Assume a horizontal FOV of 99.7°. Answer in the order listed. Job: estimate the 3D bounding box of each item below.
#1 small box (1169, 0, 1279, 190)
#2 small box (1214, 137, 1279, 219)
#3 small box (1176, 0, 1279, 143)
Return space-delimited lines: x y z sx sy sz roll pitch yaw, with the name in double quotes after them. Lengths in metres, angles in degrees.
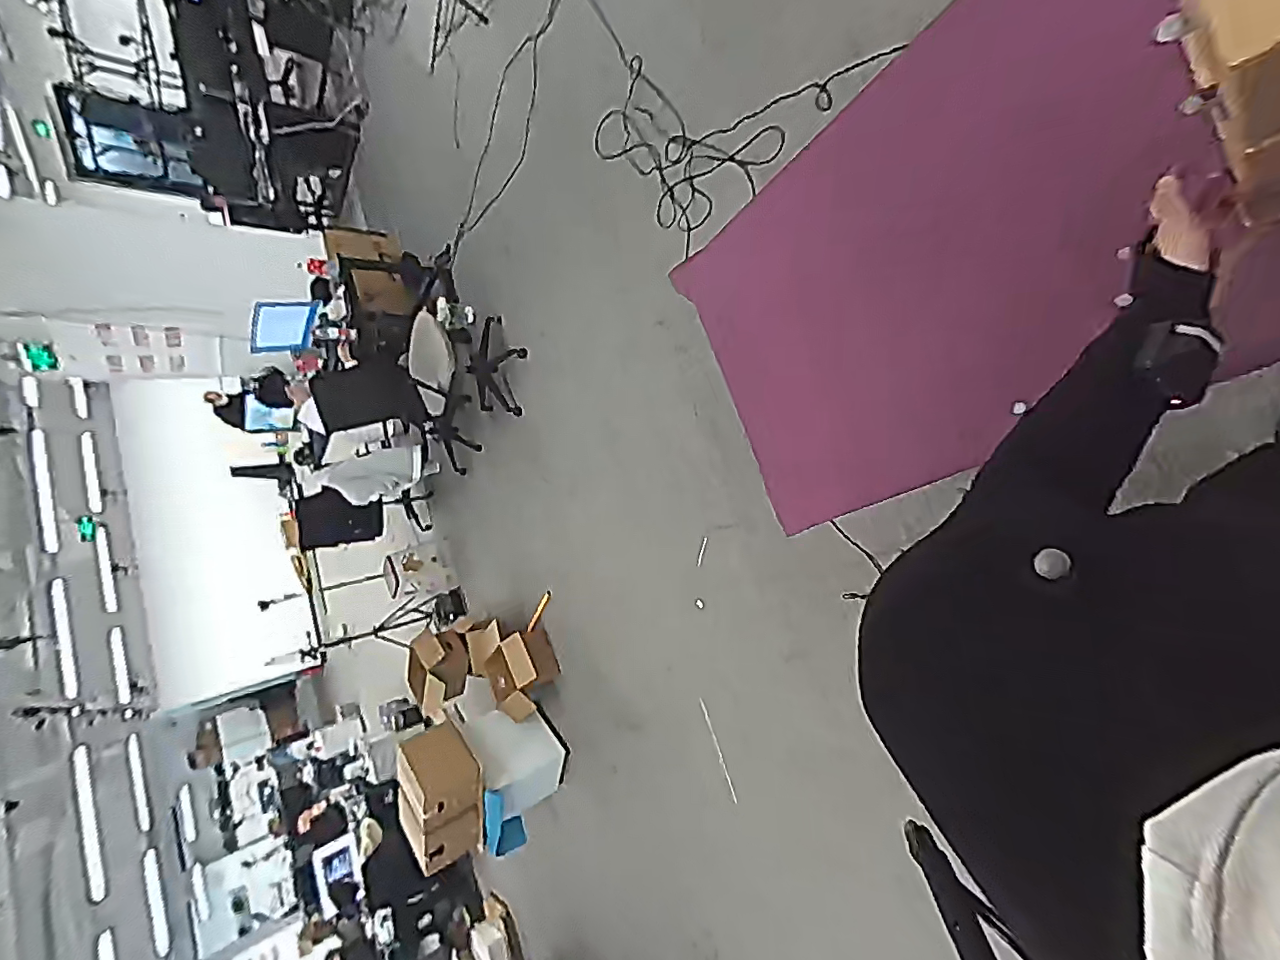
0.522 -0.339 0.381 0.179 0.176 0.168 -19 84 51 "small box"
0.646 -0.362 0.486 0.179 0.176 0.168 -14 87 50 "small box"
0.398 -0.318 0.275 0.179 0.176 0.168 -21 82 51 "small box"
